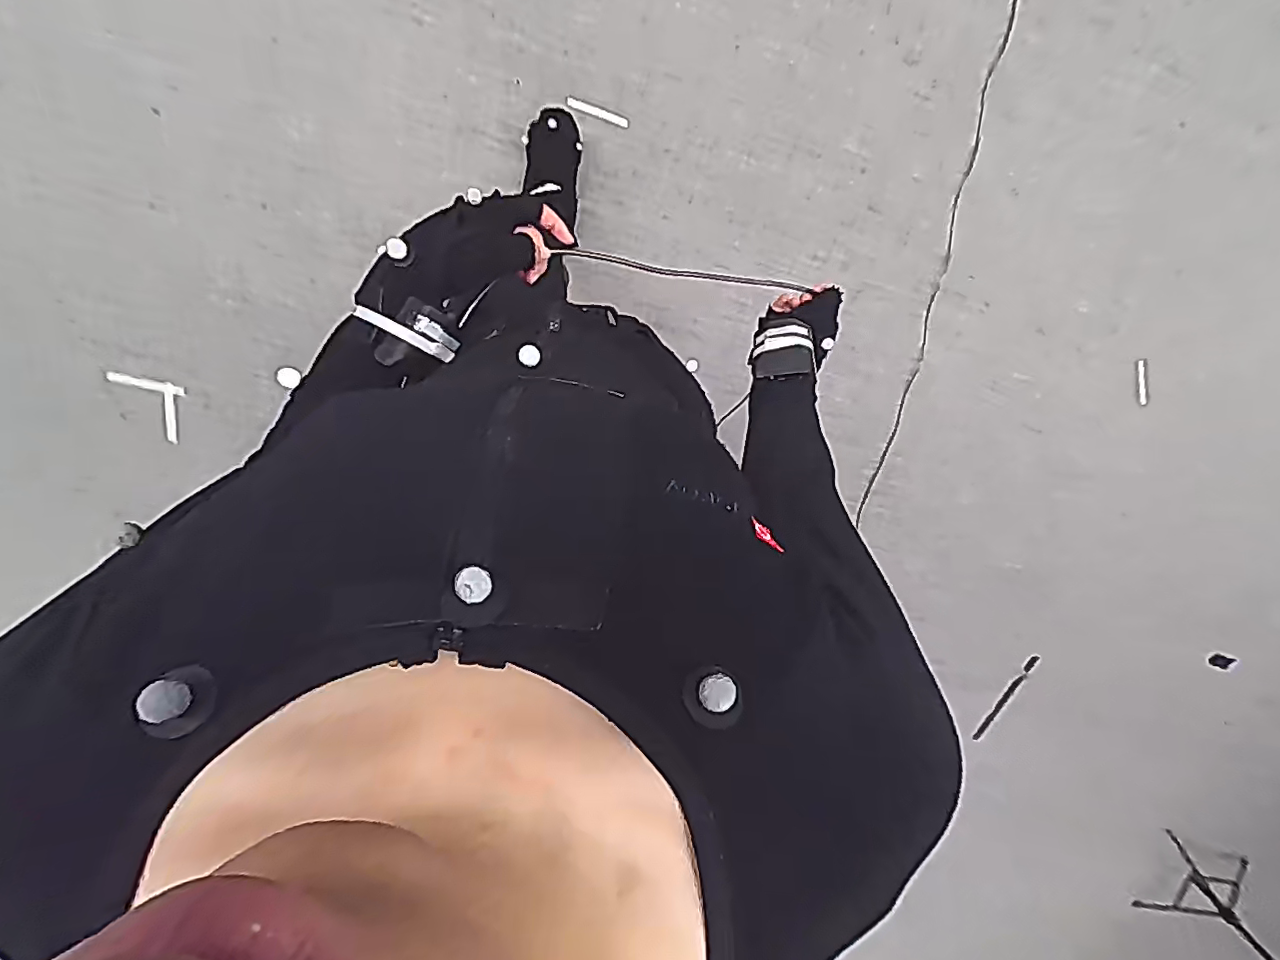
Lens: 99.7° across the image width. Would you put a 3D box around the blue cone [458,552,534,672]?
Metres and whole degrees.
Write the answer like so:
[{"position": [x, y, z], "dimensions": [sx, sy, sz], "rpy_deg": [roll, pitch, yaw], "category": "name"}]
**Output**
[{"position": [-0.418, 0.380, 1.463], "dimensions": [0.192, 0.380, 0.193], "rpy_deg": [30, 107, -14], "category": "blue cone"}]
